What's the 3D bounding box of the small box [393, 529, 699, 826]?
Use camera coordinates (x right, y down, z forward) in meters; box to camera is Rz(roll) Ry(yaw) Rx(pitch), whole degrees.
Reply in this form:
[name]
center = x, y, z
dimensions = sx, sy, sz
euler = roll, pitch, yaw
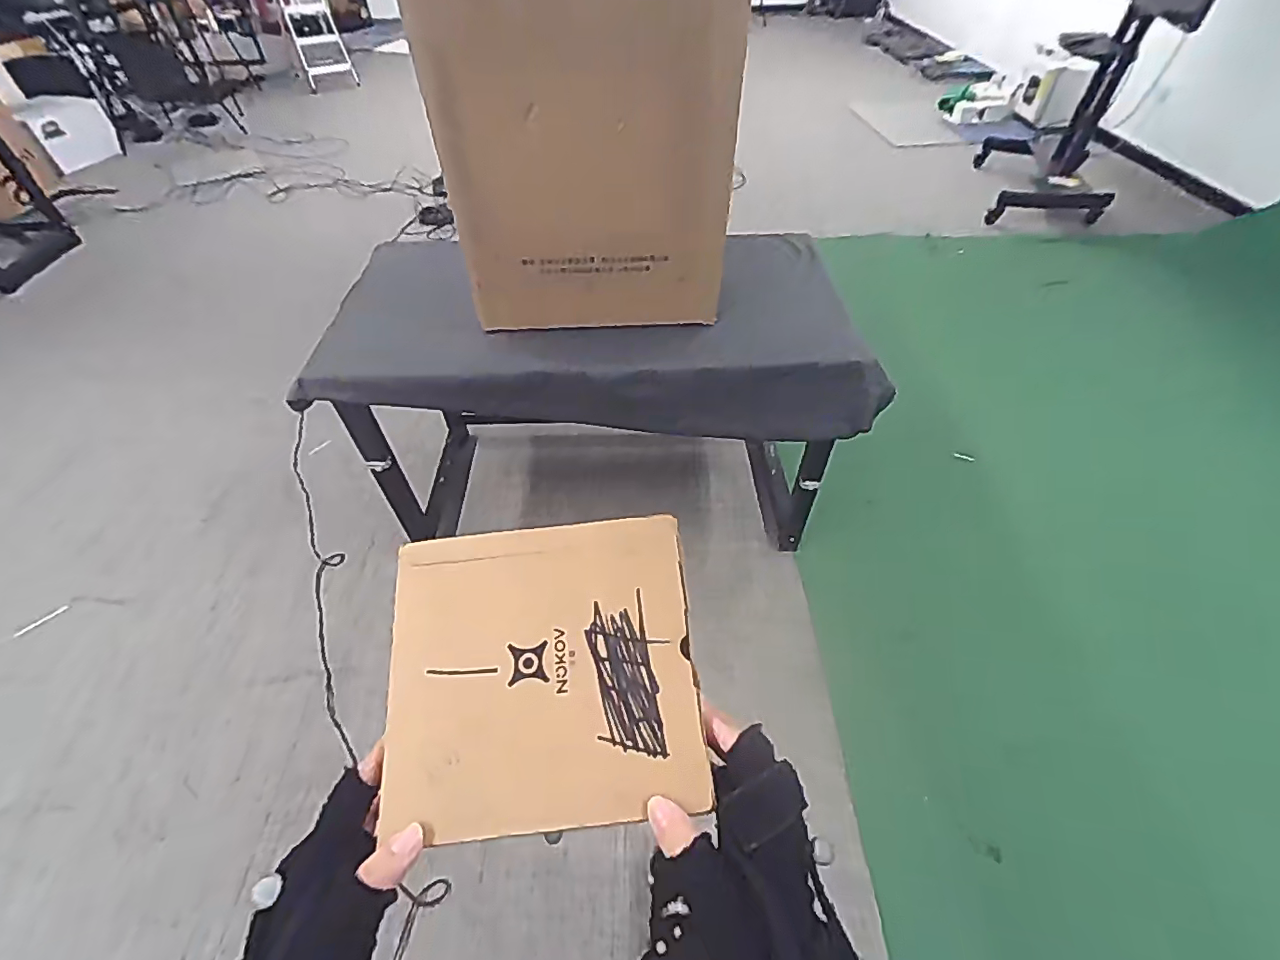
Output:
[small box]
center = -0.059, 0.146, 0.410
dimensions = 0.179, 0.176, 0.168
euler = -5, 65, -2
